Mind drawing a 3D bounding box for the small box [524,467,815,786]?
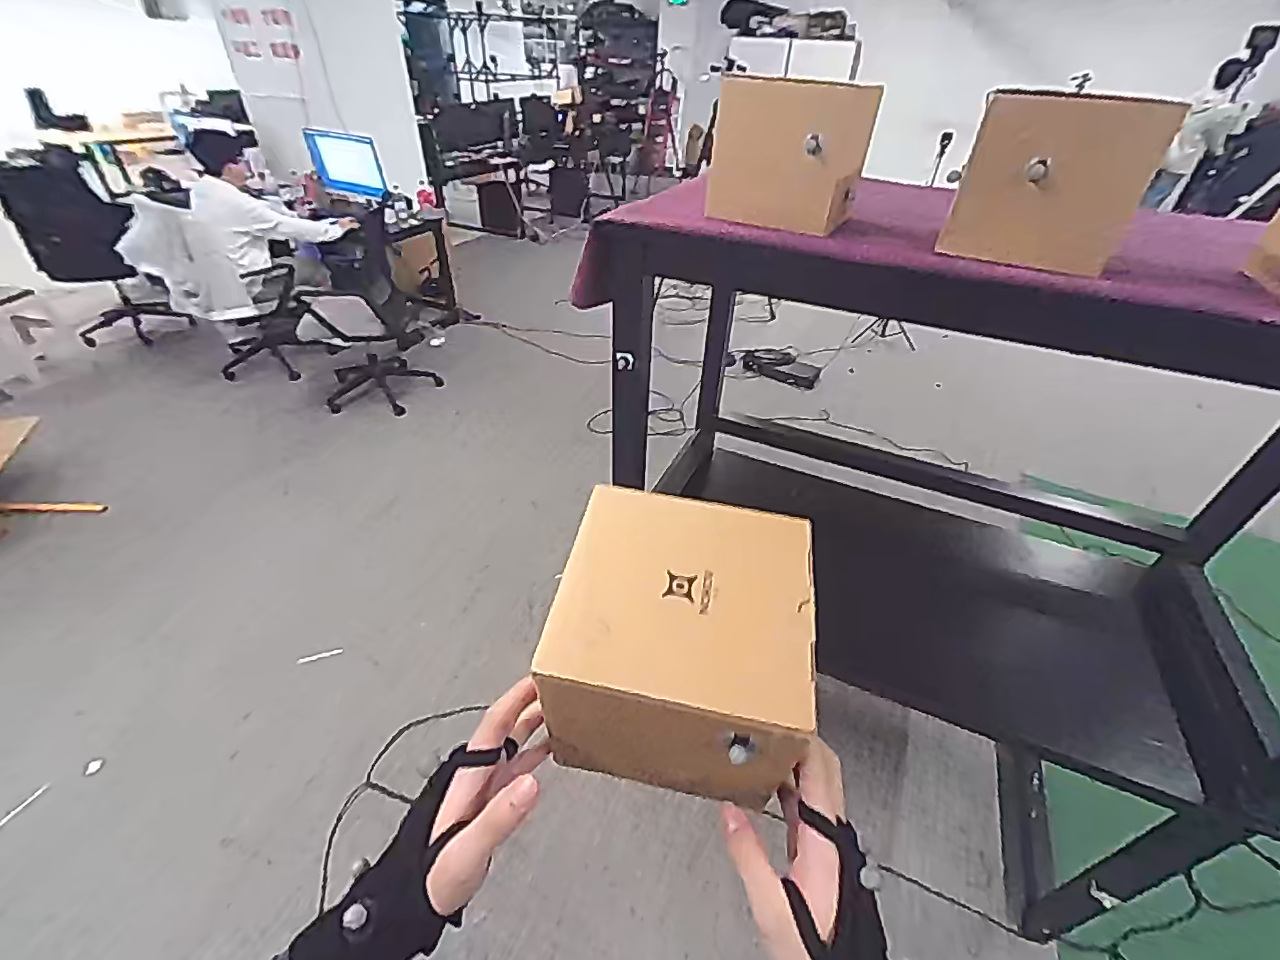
[{"bbox_3d":[0.027,0.116,0.425,0.179,0.176,0.168,10,46,6],"label":"small box"}]

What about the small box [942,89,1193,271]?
[{"bbox_3d":[0.483,-0.359,0.644,0.179,0.176,0.168,19,40,22],"label":"small box"}]

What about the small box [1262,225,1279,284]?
[{"bbox_3d":[0.780,-0.257,0.523,0.179,0.176,0.168,17,41,19],"label":"small box"}]
